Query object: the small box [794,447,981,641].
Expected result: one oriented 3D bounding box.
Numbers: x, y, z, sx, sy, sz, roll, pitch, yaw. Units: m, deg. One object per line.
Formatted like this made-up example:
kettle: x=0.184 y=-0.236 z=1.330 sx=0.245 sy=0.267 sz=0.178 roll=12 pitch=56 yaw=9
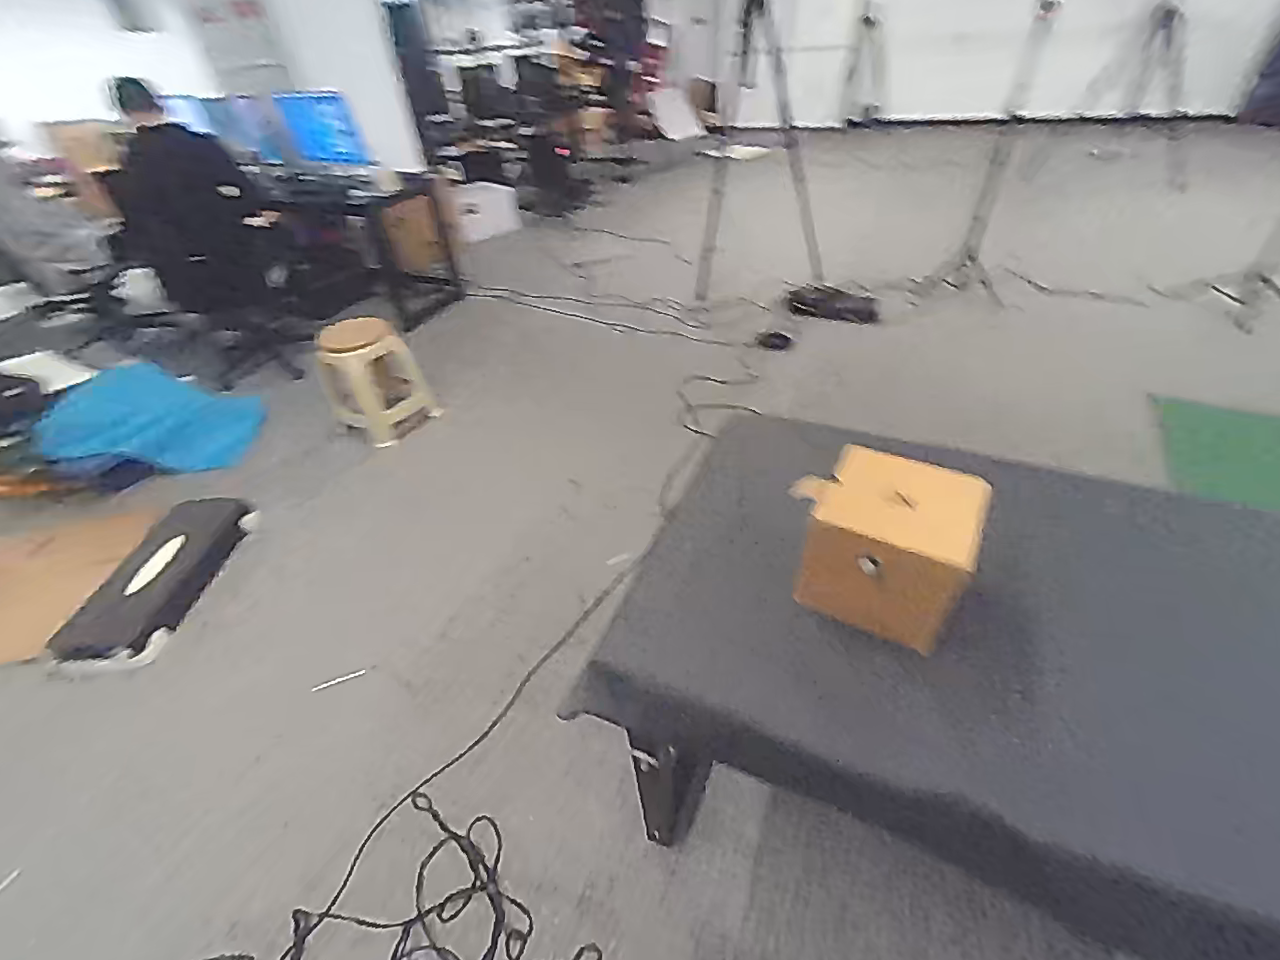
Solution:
small box: x=0.324 y=0.086 z=0.725 sx=0.179 sy=0.176 sz=0.168 roll=19 pitch=45 yaw=26
